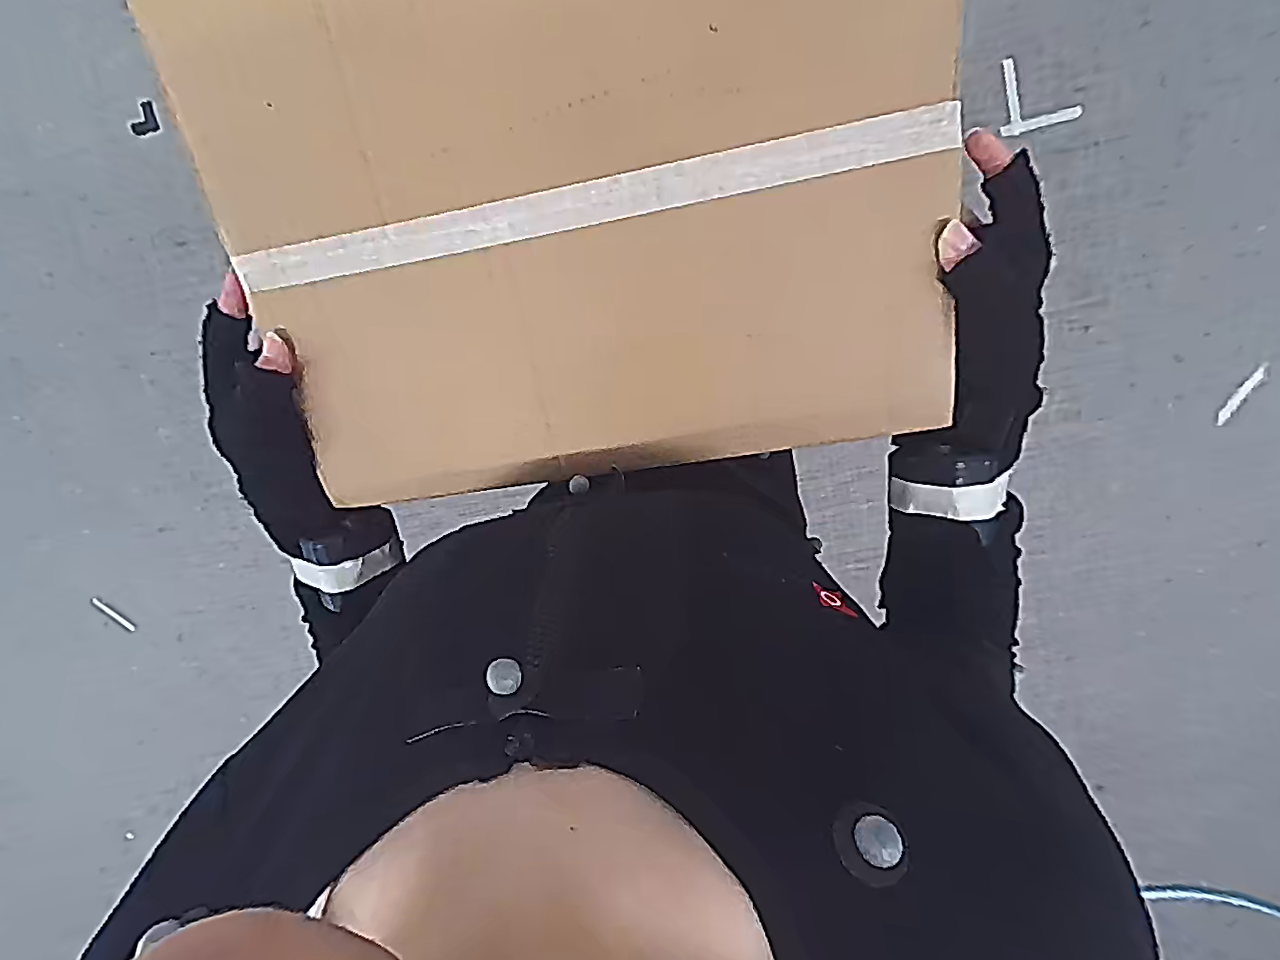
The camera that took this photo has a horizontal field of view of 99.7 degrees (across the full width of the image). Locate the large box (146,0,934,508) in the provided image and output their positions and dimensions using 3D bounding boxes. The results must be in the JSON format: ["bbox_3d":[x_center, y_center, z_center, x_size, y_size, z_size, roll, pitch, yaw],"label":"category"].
[{"bbox_3d":[-0.029,-0.203,0.446,0.408,0.320,0.320,-8,110,8],"label":"large box"}]
